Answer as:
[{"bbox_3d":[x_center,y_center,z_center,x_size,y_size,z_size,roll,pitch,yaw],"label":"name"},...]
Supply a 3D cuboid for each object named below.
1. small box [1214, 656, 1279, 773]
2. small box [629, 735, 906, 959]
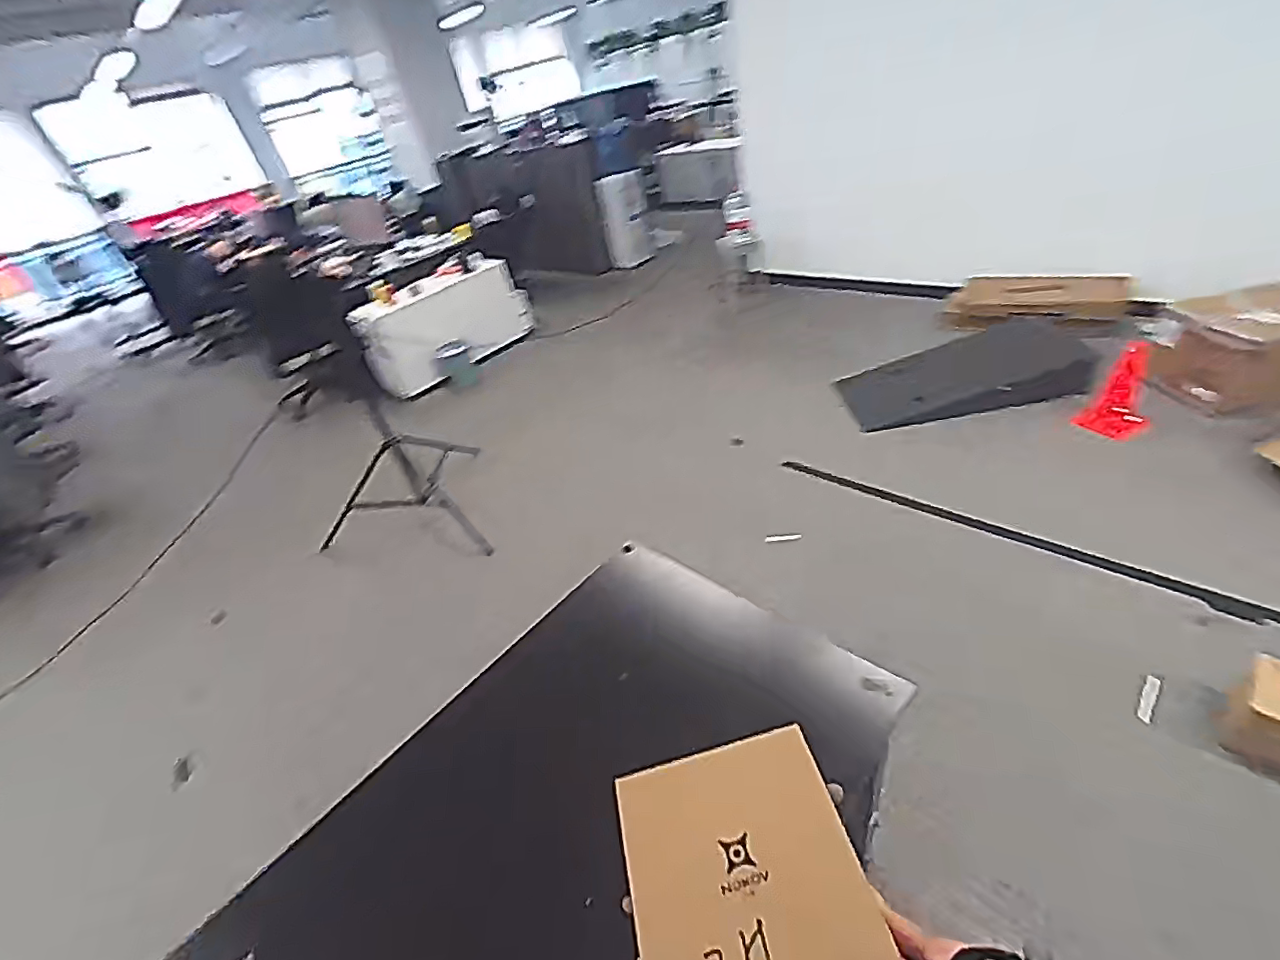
[{"bbox_3d":[1.470,0.552,1.241,0.168,0.176,0.179,21,49,38],"label":"small box"},{"bbox_3d":[0.098,0.349,0.439,0.168,0.176,0.179,-17,36,1],"label":"small box"}]
